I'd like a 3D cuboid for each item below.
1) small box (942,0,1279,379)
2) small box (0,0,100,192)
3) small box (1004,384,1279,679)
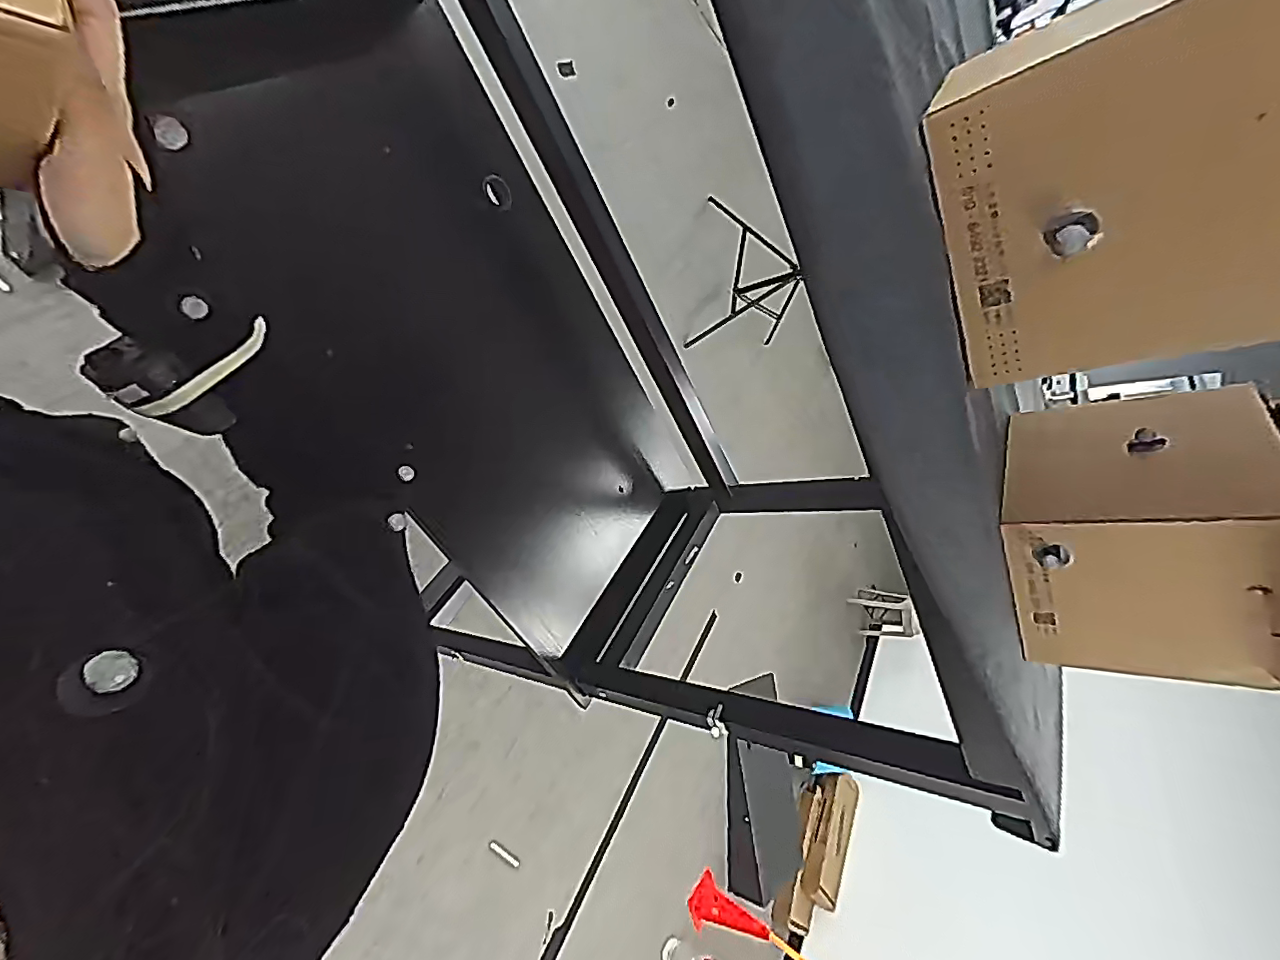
[{"bbox_3d":[0.289,-0.182,0.321,0.168,0.176,0.179,60,44,-27],"label":"small box"},{"bbox_3d":[-0.292,-0.214,0.151,0.168,0.176,0.179,-14,103,-50],"label":"small box"},{"bbox_3d":[0.424,0.043,0.464,0.179,0.176,0.168,-51,124,-41],"label":"small box"}]
